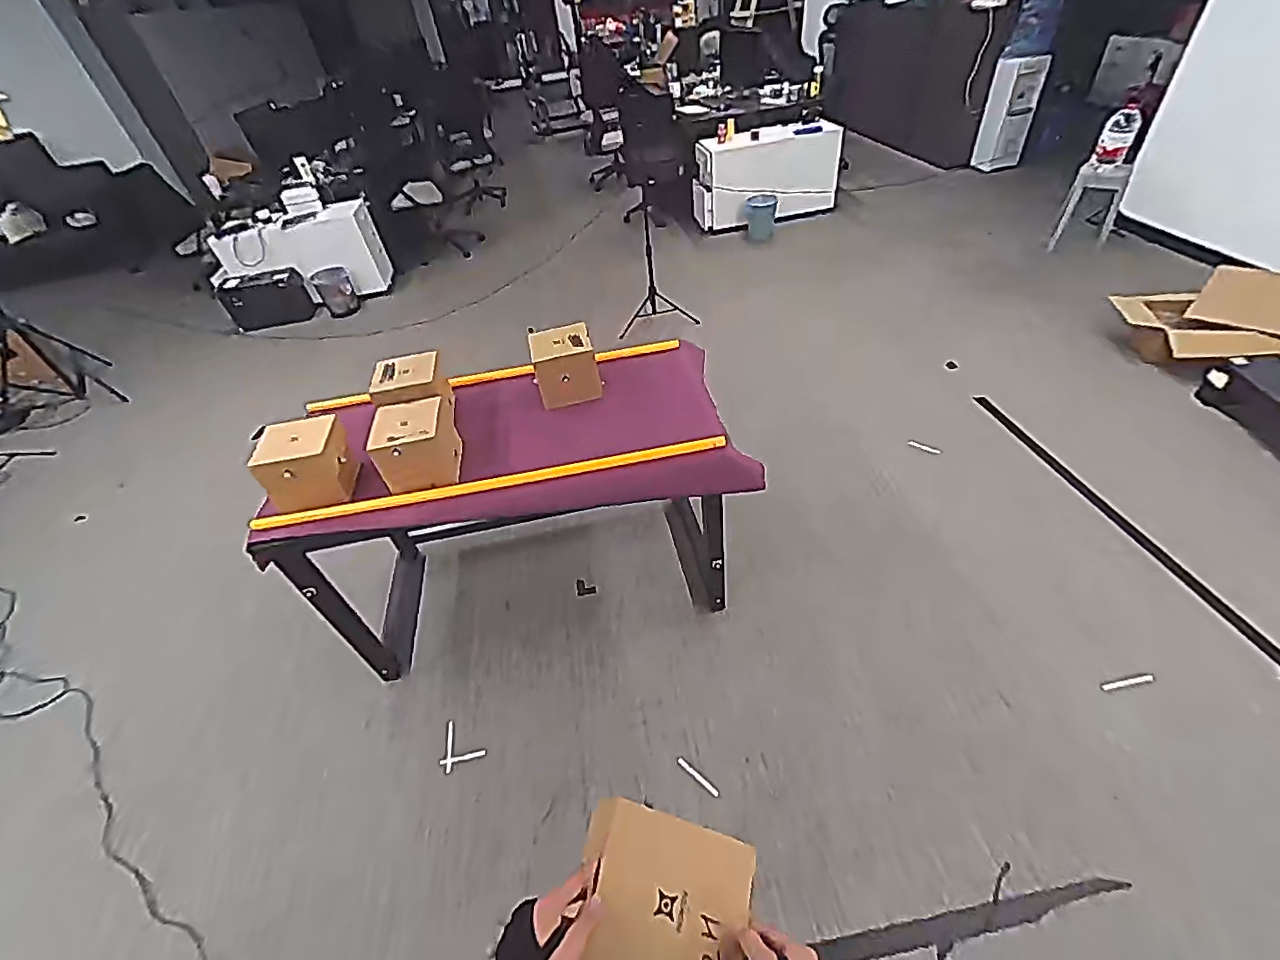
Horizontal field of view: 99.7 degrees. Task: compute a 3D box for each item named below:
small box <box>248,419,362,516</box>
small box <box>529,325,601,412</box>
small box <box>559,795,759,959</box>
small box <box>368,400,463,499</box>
[{"bbox_3d":[-0.844,-0.031,1.388,0.179,0.176,0.168,-12,43,-4],"label":"small box"},{"bbox_3d":[-0.217,-0.327,1.594,0.179,0.176,0.168,-14,44,-4],"label":"small box"},{"bbox_3d":[0.016,0.494,0.635,0.179,0.176,0.168,21,56,-1],"label":"small box"},{"bbox_3d":[-0.567,-0.077,1.390,0.168,0.176,0.179,-12,43,-2],"label":"small box"}]
